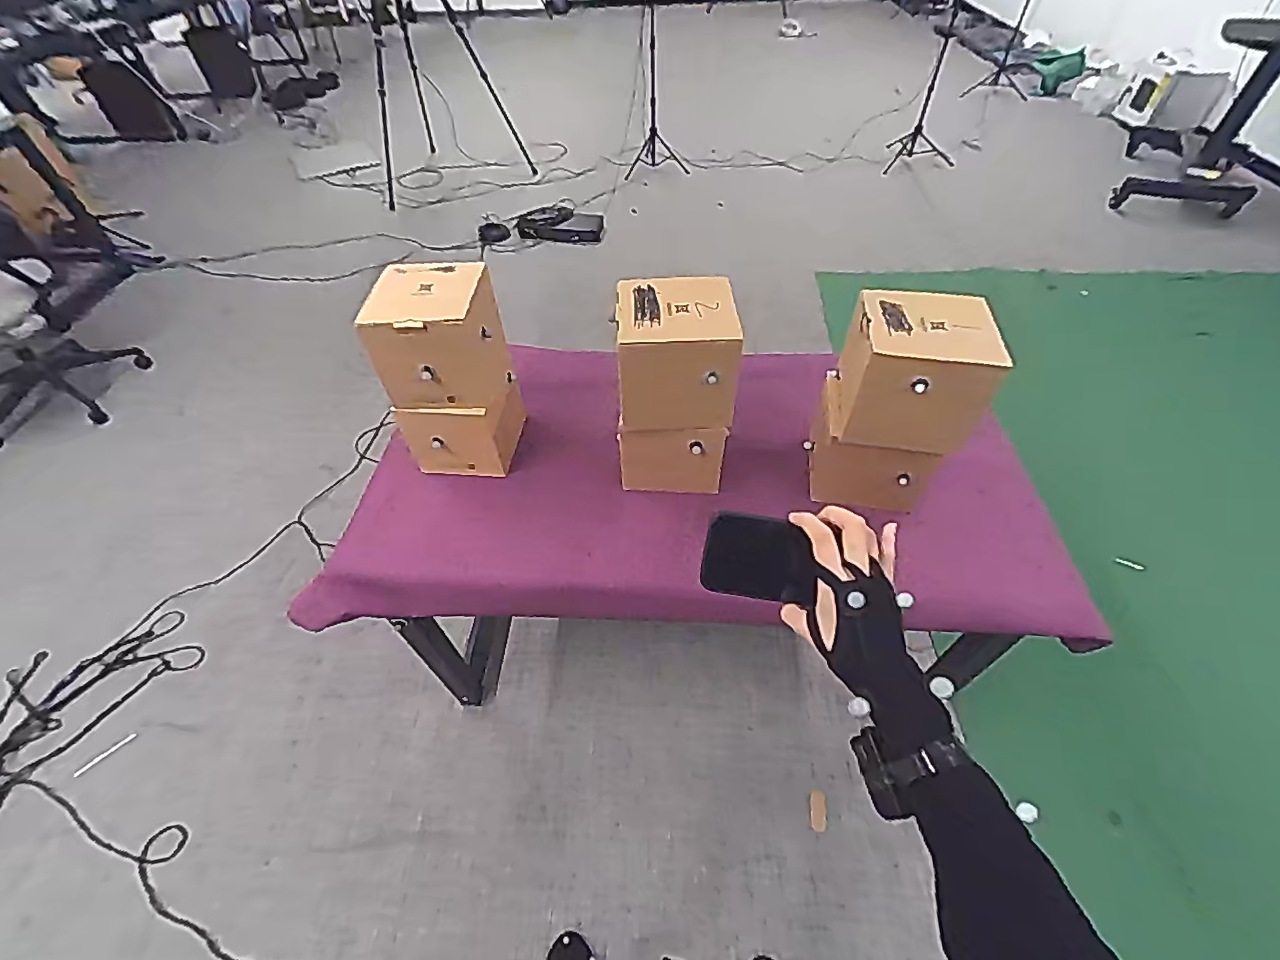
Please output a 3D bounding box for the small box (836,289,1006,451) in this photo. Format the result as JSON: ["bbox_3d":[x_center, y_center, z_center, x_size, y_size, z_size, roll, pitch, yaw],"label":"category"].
[{"bbox_3d":[0.398,-0.162,0.807,0.179,0.176,0.168,8,51,8],"label":"small box"}]

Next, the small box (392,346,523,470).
[{"bbox_3d":[-0.329,-0.135,1.020,0.168,0.176,0.179,3,50,5],"label":"small box"}]

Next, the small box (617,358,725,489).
[{"bbox_3d":[0.057,-0.098,0.976,0.179,0.176,0.168,3,50,5],"label":"small box"}]

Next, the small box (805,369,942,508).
[{"bbox_3d":[0.395,-0.069,0.943,0.179,0.176,0.168,8,50,9],"label":"small box"}]

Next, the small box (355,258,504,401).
[{"bbox_3d":[-0.333,-0.246,0.900,0.168,0.176,0.179,0,51,1],"label":"small box"}]
